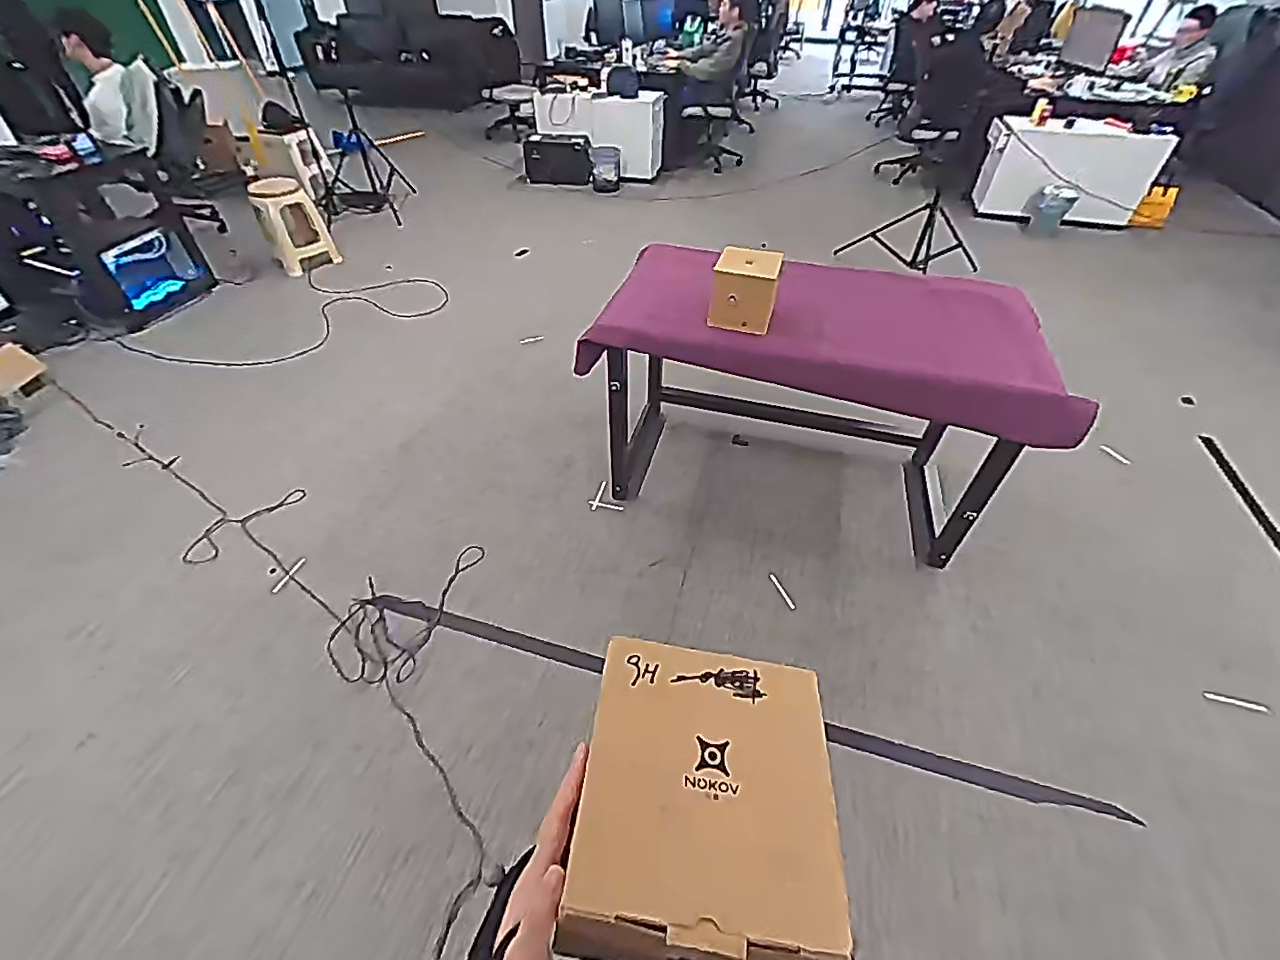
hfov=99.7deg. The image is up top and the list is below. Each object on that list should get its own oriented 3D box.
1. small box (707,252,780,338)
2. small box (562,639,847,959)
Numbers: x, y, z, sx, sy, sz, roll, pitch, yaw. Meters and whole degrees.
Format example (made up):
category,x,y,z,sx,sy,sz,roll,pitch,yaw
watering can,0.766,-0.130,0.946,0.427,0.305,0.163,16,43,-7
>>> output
category,x,y,z,sx,sy,sz,roll,pitch,yaw
small box,0.289,-0.521,1.525,0.168,0.176,0.179,13,45,11
small box,0.039,0.255,0.418,0.168,0.176,0.179,10,42,0
